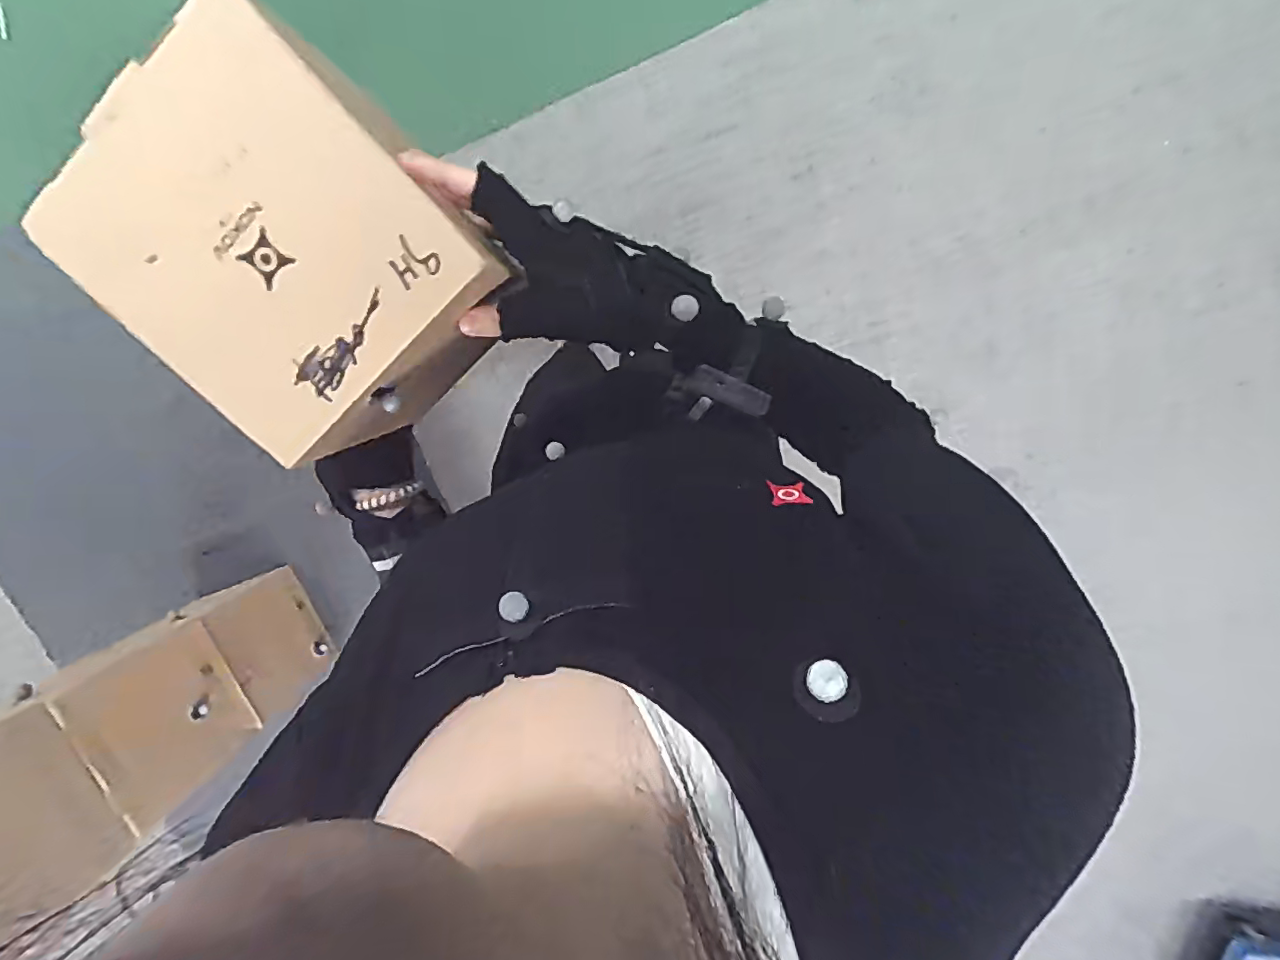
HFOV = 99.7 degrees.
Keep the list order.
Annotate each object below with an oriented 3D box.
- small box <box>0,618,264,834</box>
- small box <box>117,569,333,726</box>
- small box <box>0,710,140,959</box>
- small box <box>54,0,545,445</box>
[{"bbox_3d":[-0.590,0.286,0.616,0.179,0.176,0.168,-21,101,8],"label":"small box"},{"bbox_3d":[-0.580,0.249,0.773,0.179,0.176,0.168,-21,101,9],"label":"small box"},{"bbox_3d":[-0.600,0.322,0.455,0.168,0.176,0.179,-19,101,8],"label":"small box"},{"bbox_3d":[-0.191,-0.150,0.362,0.168,0.176,0.179,-40,100,11],"label":"small box"}]
